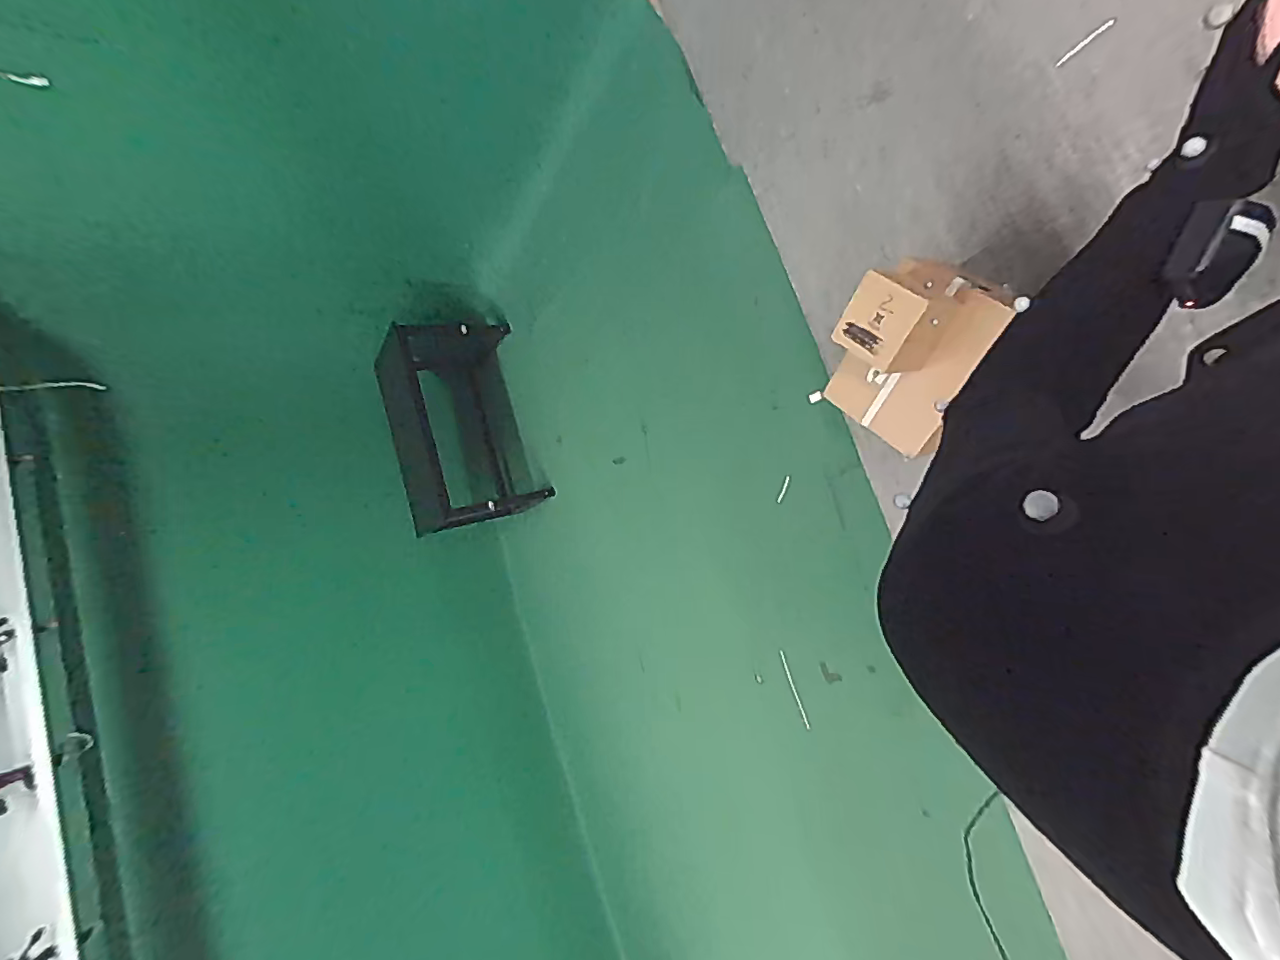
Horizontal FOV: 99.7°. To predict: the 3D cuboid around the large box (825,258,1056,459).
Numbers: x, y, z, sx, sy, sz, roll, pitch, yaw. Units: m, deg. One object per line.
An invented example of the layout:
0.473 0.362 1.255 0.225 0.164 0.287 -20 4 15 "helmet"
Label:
0.777 -0.325 1.430 0.320 0.320 0.408 48 134 33 "large box"
